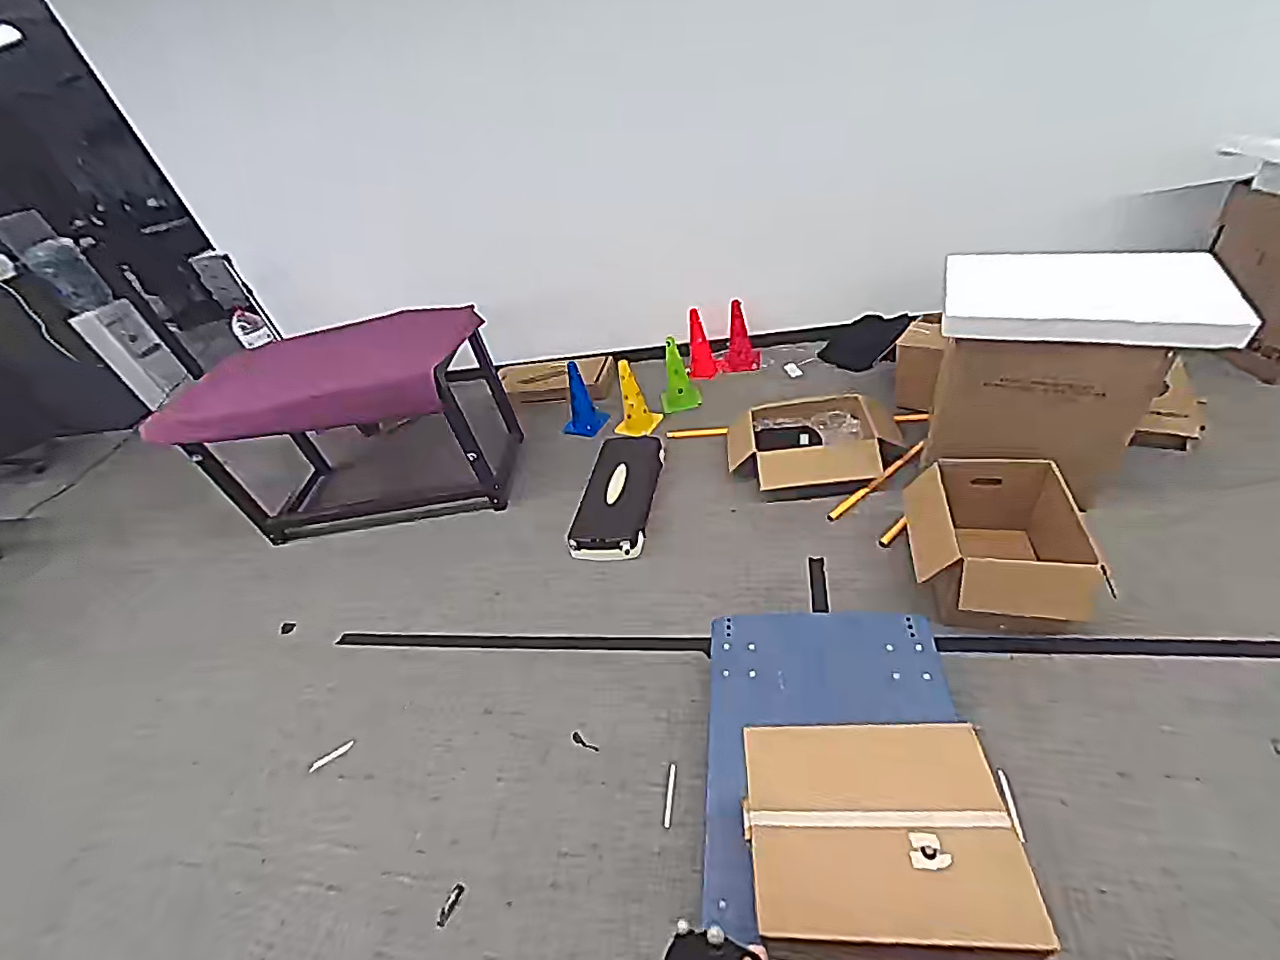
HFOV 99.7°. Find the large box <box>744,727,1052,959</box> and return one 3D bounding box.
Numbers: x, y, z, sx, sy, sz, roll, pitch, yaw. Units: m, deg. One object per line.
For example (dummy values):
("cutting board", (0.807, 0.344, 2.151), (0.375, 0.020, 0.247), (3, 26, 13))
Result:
("large box", (0.411, 0.677, 0.983), (0.408, 0.320, 0.320), (-5, 40, 9))
